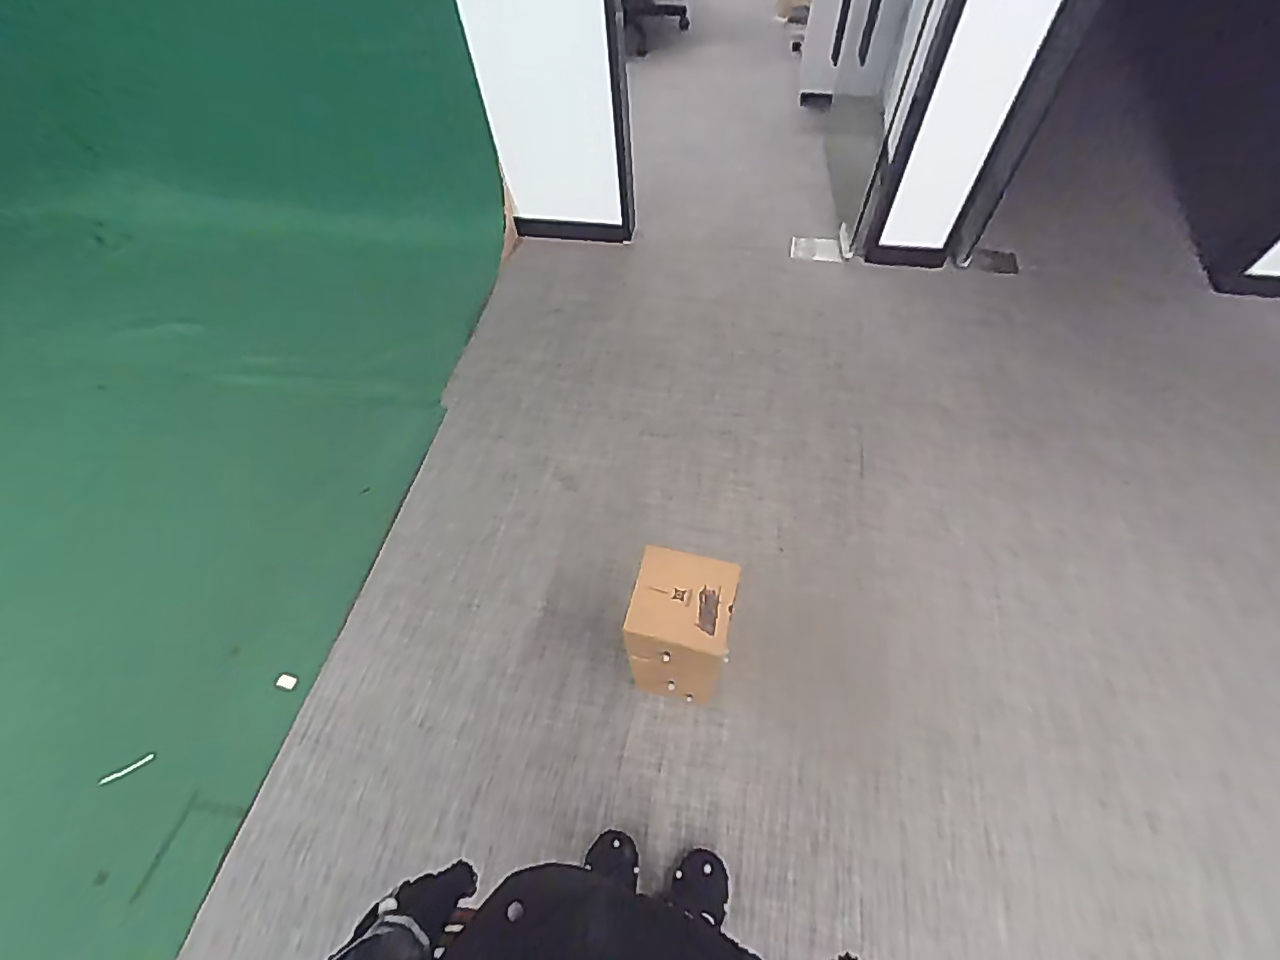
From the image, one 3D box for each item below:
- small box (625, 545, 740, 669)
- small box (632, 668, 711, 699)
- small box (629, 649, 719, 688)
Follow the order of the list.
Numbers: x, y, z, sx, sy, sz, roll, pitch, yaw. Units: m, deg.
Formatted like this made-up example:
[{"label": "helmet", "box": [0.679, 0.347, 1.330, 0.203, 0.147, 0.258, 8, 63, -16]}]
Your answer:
[{"label": "small box", "box": [0.078, 0.243, 1.007, 0.179, 0.176, 0.168, 10, 60, 8]}, {"label": "small box", "box": [0.089, 0.412, 1.289, 0.179, 0.176, 0.168, 9, 59, 10]}, {"label": "small box", "box": [0.084, 0.329, 1.147, 0.179, 0.176, 0.168, 11, 60, 9]}]
